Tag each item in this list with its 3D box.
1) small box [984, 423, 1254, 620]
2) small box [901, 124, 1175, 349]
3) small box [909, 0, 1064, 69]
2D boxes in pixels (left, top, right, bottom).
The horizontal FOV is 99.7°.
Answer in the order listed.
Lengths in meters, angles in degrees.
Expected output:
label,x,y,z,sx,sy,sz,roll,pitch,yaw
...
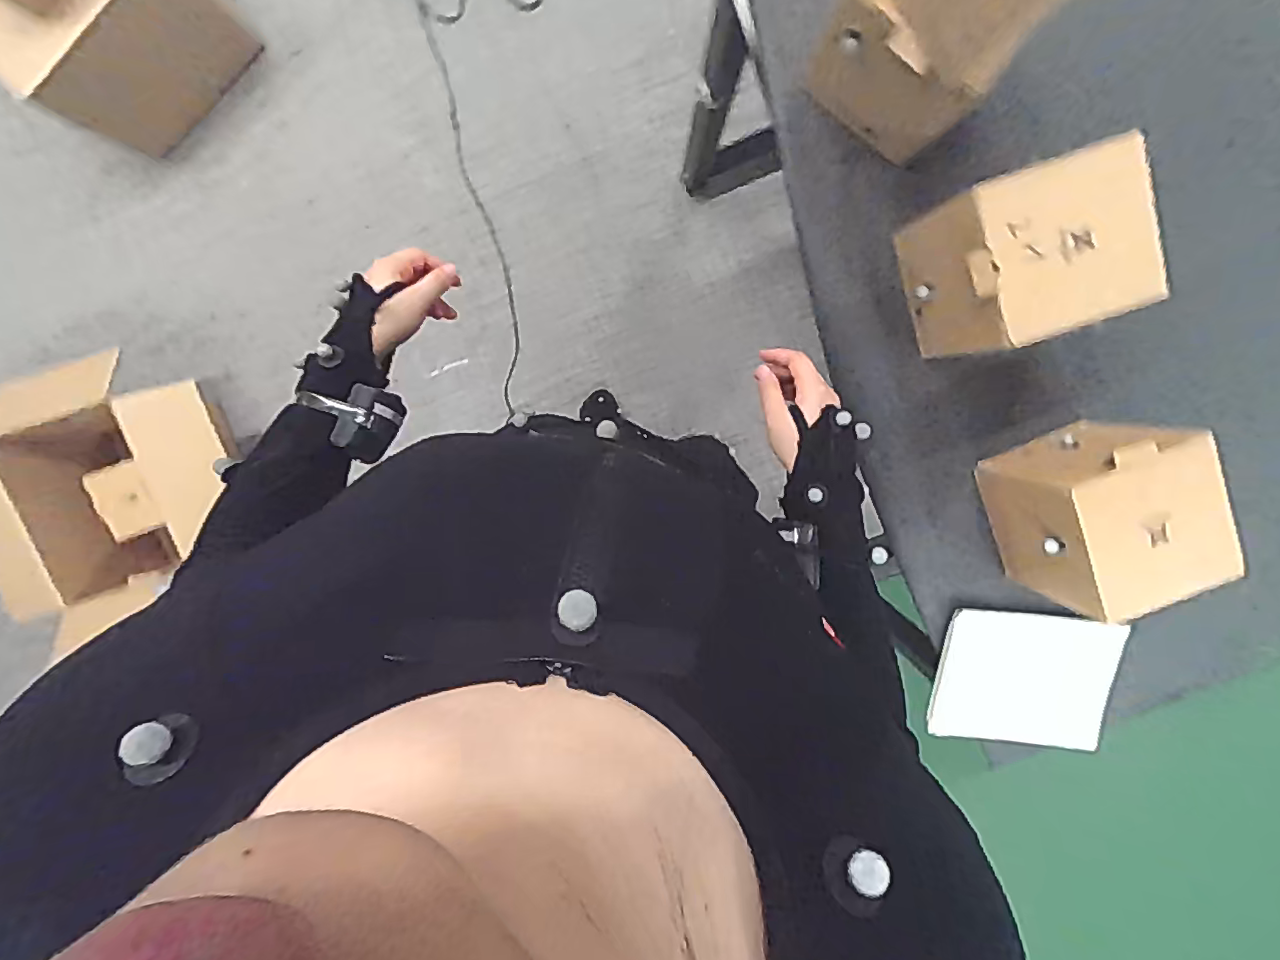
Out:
label,x,y,z,sx,sy,sz,roll,pitch,yaw
small box,0.573,0.039,0.670,0.168,0.176,0.179,-22,98,3
small box,0.438,-0.259,0.620,0.179,0.176,0.168,-18,98,2
small box,0.311,-0.484,0.417,0.168,0.176,0.179,-35,97,5
